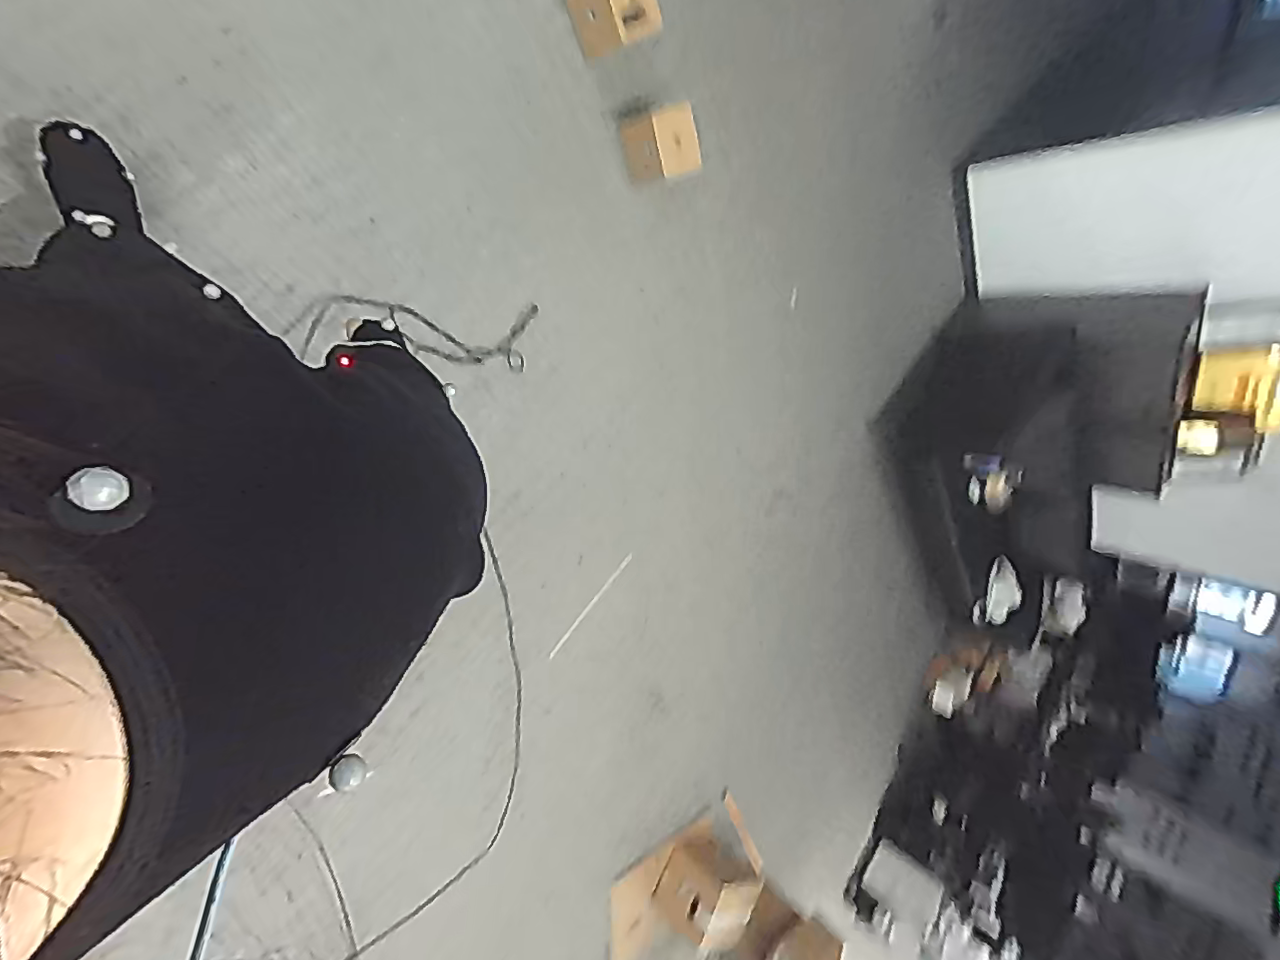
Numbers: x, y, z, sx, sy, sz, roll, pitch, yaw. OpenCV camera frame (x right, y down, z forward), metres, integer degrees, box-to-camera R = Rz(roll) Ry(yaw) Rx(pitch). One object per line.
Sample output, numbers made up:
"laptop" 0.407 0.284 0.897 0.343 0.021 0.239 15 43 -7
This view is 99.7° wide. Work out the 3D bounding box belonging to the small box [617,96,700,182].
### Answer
"small box" 0.052 -1.032 1.646 0.168 0.176 0.179 -35 125 -27
